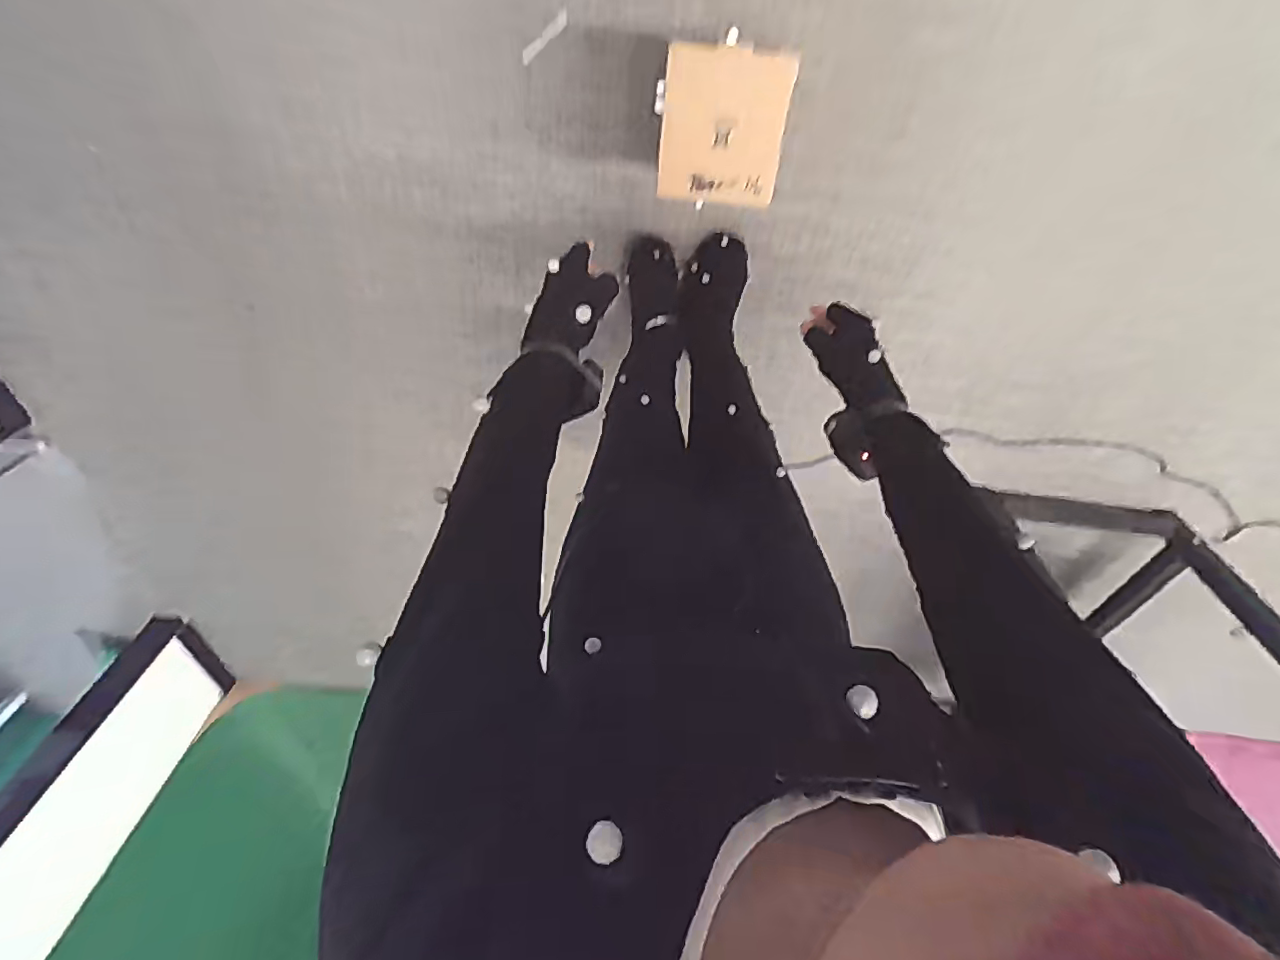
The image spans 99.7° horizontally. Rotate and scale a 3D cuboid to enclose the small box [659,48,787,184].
[{"bbox_3d":[0.131,-0.617,0.916,0.179,0.176,0.168,6,129,0],"label":"small box"}]
